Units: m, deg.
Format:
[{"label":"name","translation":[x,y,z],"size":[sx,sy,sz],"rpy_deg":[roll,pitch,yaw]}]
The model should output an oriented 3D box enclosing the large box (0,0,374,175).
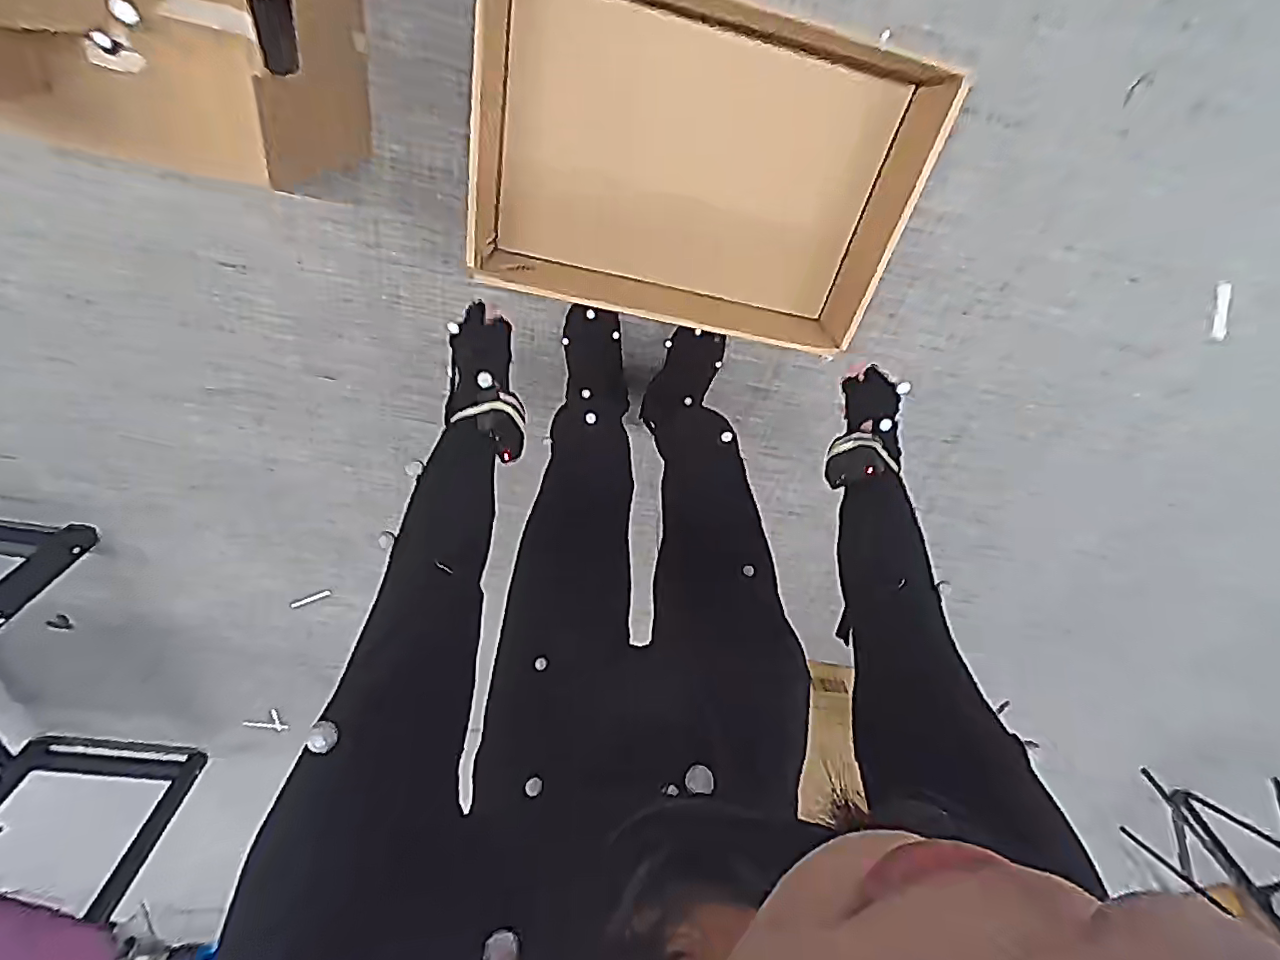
[{"label":"large box","translation":[-0.591,-0.591,0.645],"size":[0.408,0.320,0.320],"rpy_deg":[8,127,-7]}]
